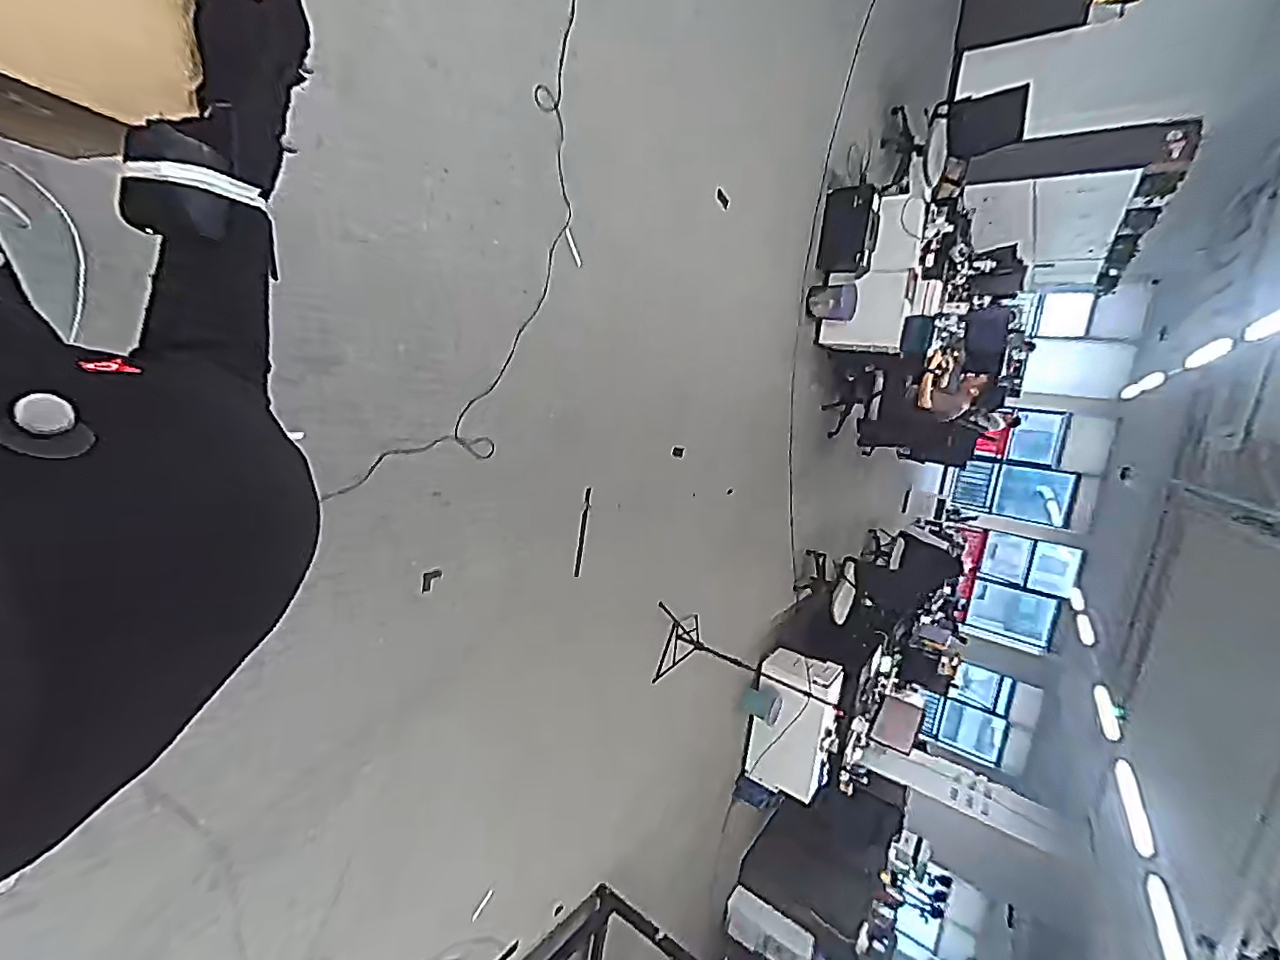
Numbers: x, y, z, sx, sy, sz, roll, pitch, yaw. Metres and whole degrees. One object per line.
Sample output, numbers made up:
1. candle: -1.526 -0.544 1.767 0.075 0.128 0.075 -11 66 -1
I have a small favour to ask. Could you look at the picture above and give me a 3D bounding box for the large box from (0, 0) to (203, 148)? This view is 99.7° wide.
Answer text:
1. large box: -0.524 -0.429 0.278 0.408 0.320 0.320 -2 109 -58
